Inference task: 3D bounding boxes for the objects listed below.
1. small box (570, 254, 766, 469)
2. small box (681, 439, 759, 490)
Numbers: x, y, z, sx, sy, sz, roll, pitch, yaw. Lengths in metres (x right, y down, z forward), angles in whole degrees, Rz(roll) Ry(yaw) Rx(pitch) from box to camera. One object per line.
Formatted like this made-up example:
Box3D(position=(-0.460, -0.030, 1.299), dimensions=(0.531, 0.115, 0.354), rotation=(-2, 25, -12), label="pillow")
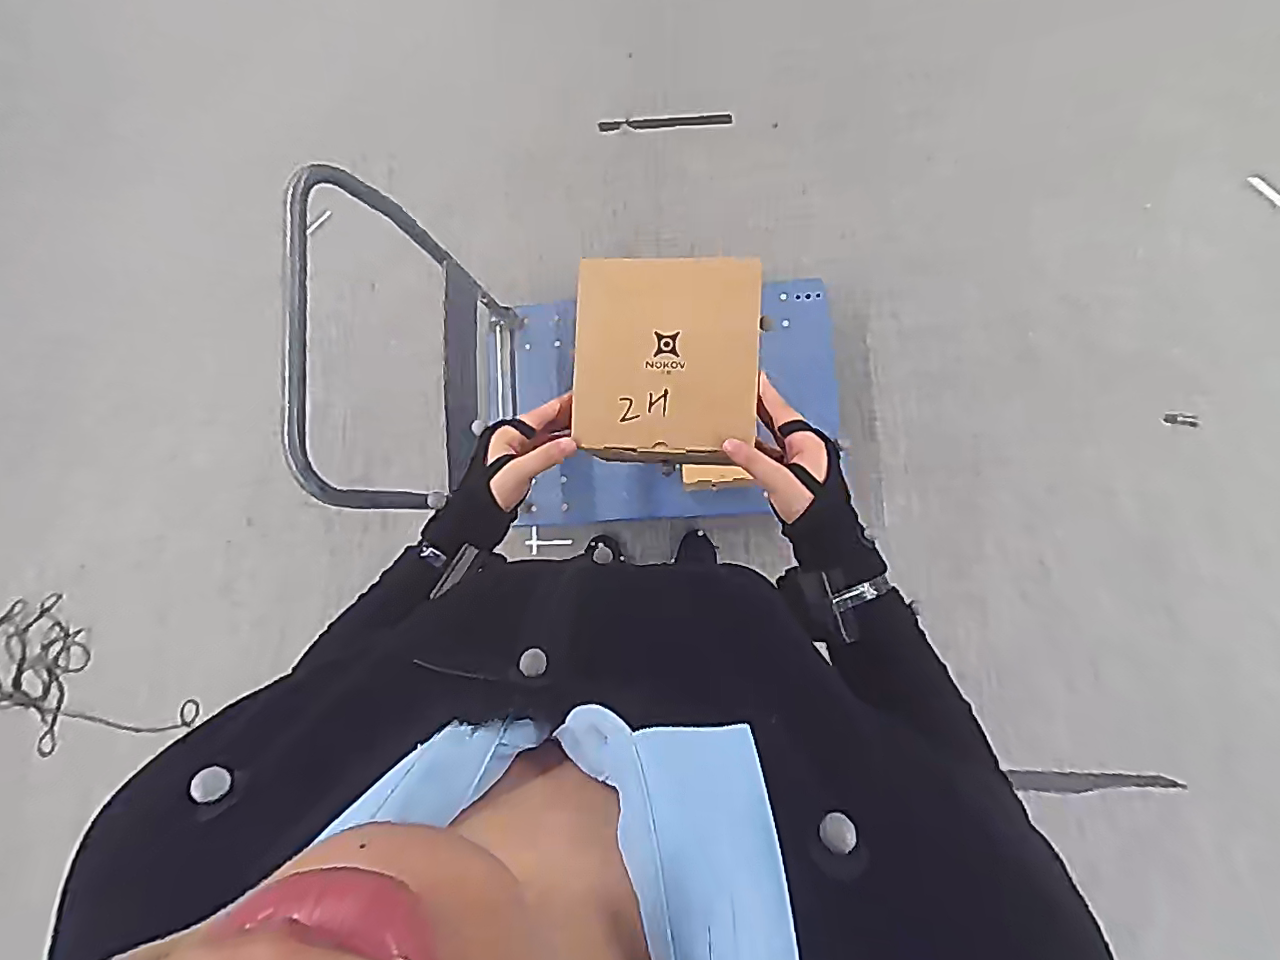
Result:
Box3D(position=(0.033, -0.109, 0.555), dimensions=(0.168, 0.176, 0.179), rotation=(3, 88, 7), label="small box")
Box3D(position=(0.176, -0.075, 1.243), dimensions=(0.168, 0.176, 0.179), rotation=(-4, 84, 5), label="small box")
